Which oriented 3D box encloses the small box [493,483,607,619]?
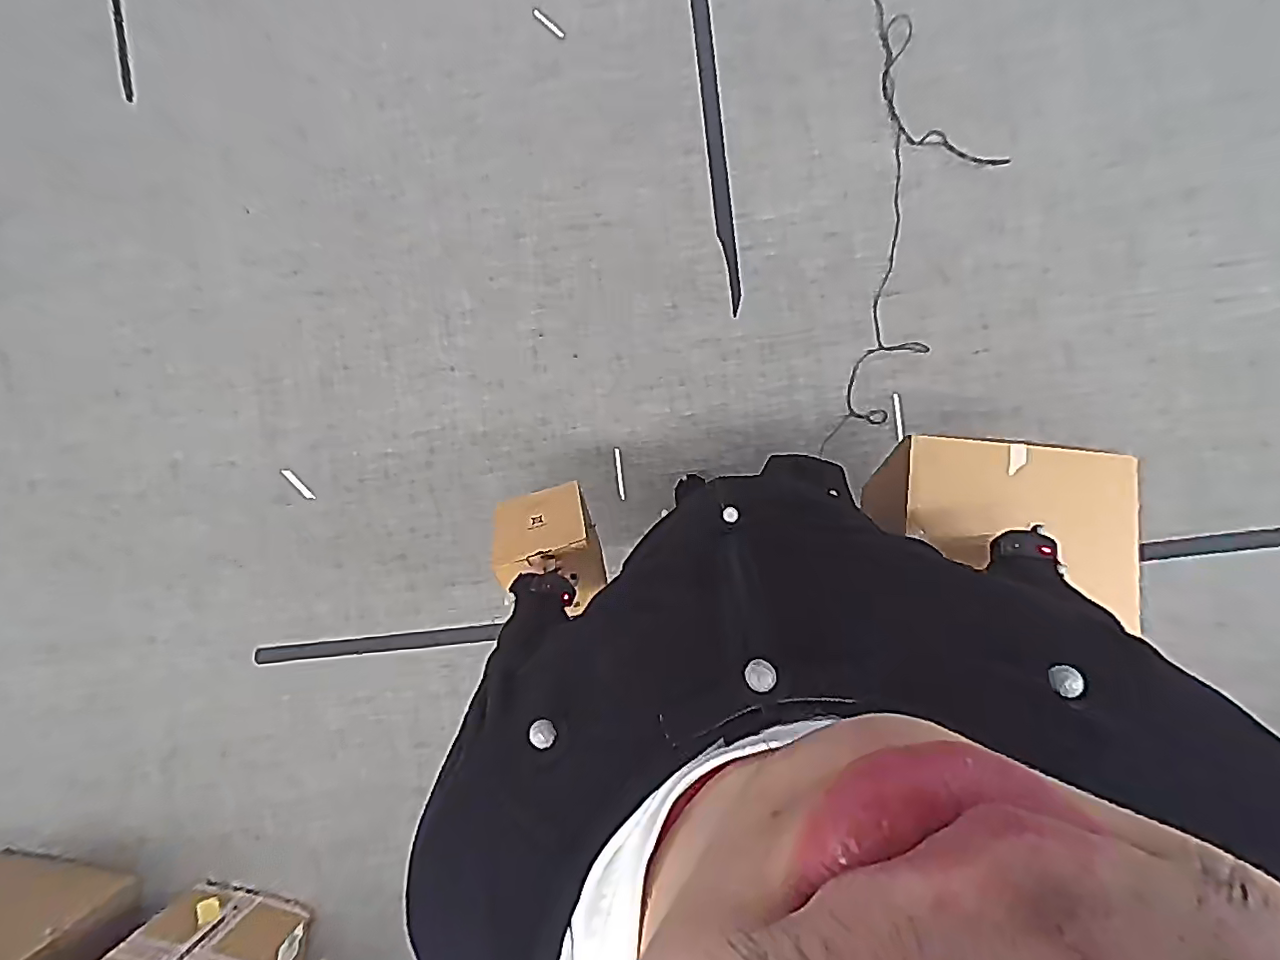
[{"bbox_3d":[-0.166,0.138,1.016,0.168,0.179,0.176,-16,126,-2],"label":"small box"}]
